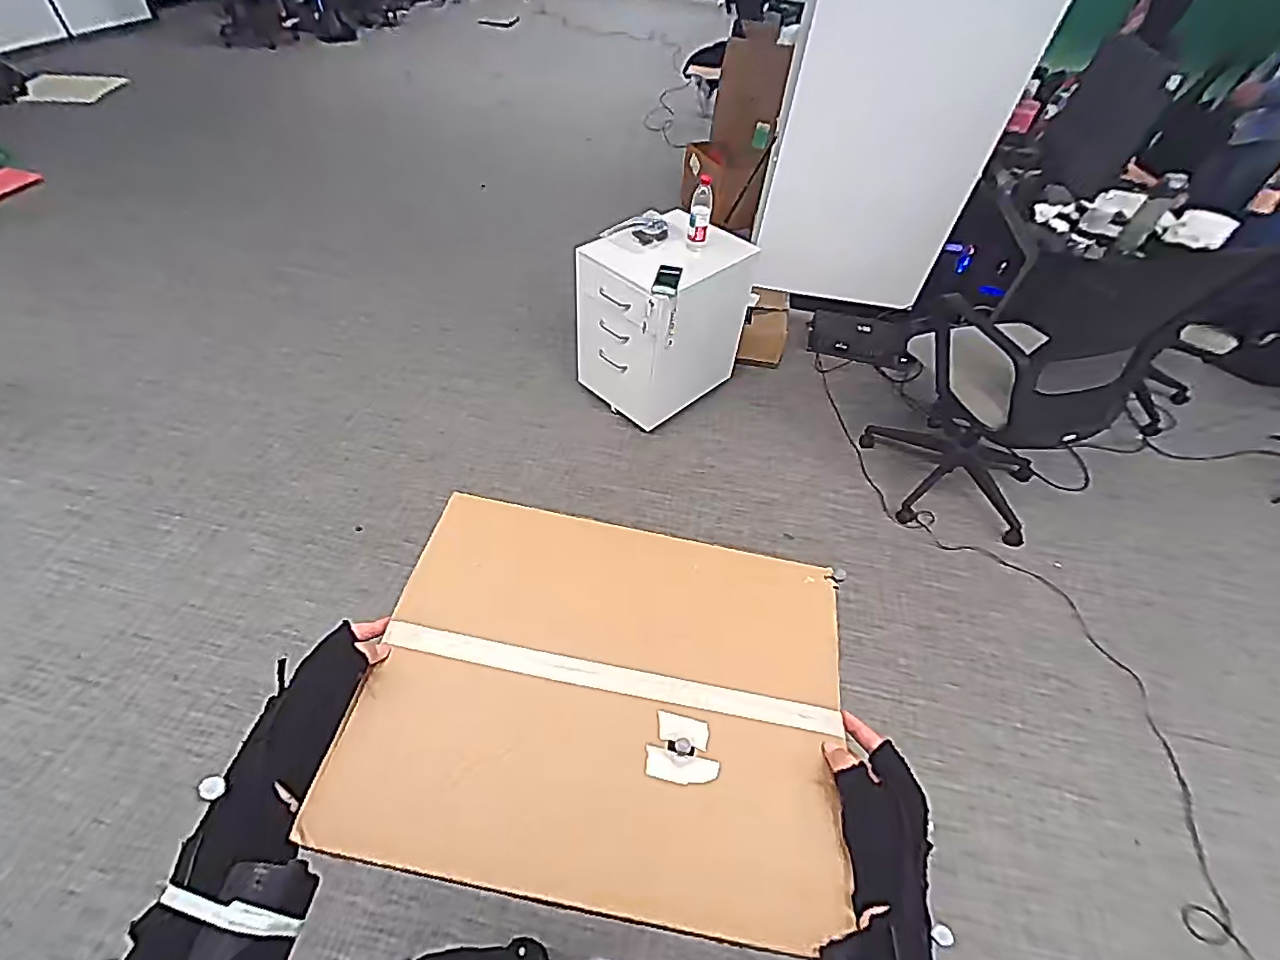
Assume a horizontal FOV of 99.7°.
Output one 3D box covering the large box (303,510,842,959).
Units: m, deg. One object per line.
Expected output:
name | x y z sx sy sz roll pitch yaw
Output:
large box | -0.045 0.275 0.593 0.408 0.320 0.320 12 53 1
